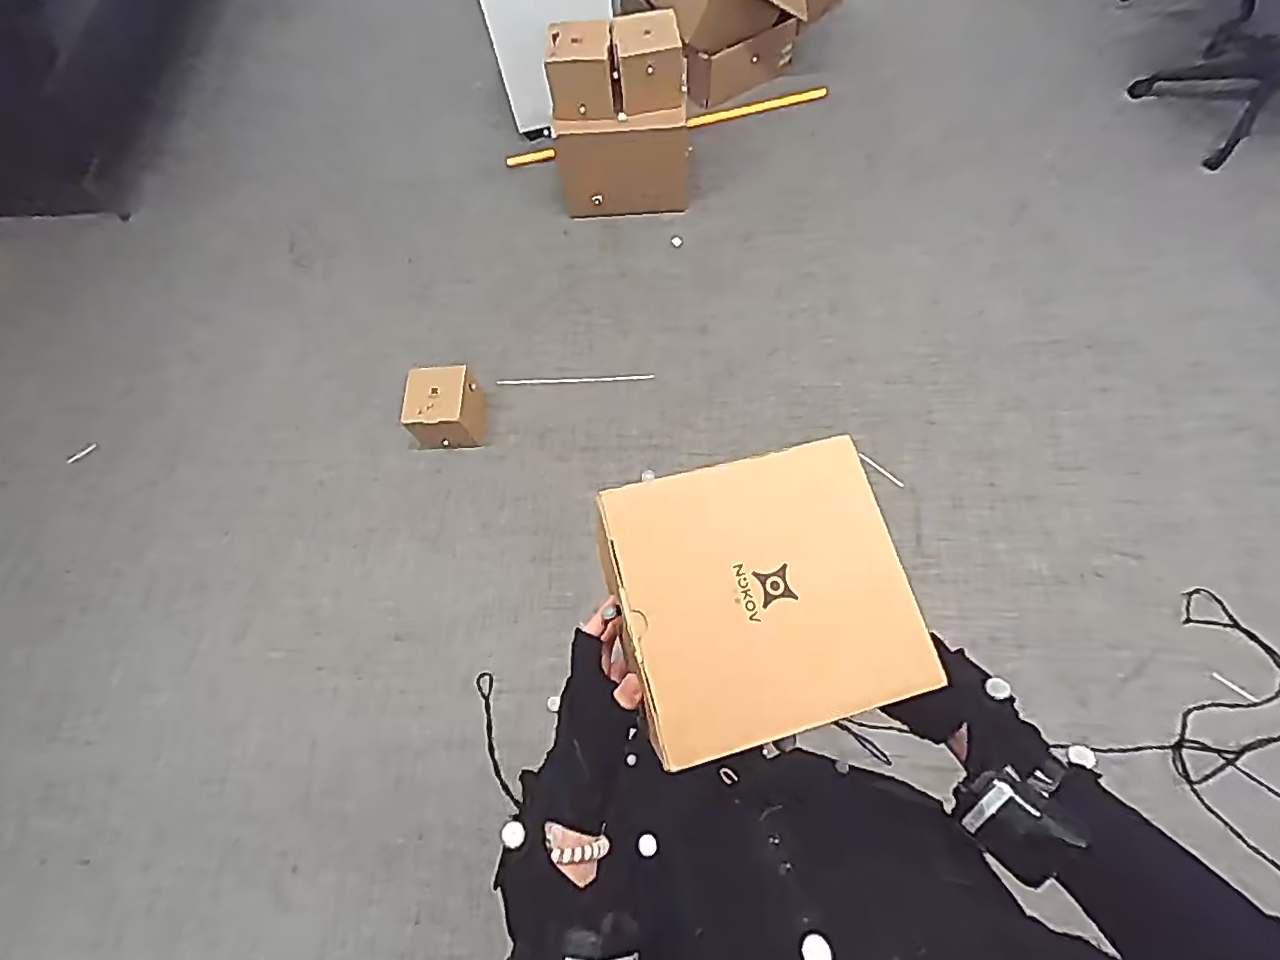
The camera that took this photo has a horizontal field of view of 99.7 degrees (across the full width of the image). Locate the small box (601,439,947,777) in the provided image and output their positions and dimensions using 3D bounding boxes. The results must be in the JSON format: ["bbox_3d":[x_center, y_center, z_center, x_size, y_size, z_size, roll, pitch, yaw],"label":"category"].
[{"bbox_3d":[0.073,0.088,0.400,0.179,0.176,0.168,-14,75,-7],"label":"small box"}]

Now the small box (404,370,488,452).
[{"bbox_3d":[-0.546,-0.196,1.550,0.168,0.176,0.179,-2,68,5],"label":"small box"}]
